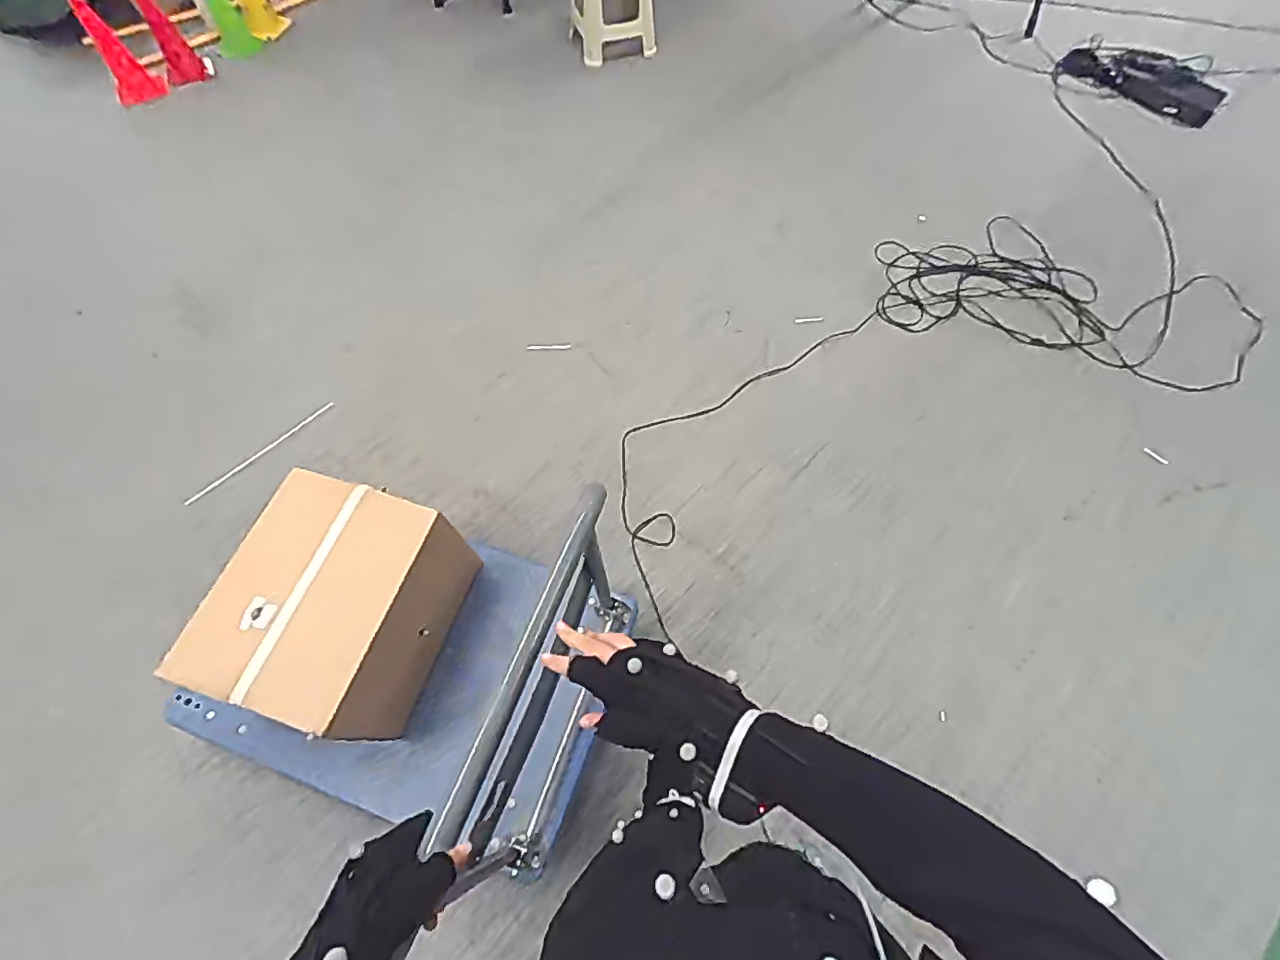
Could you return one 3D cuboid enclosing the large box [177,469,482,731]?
[{"bbox_3d":[-0.569,0.248,1.091,0.320,0.320,0.408,15,66,8],"label":"large box"}]
